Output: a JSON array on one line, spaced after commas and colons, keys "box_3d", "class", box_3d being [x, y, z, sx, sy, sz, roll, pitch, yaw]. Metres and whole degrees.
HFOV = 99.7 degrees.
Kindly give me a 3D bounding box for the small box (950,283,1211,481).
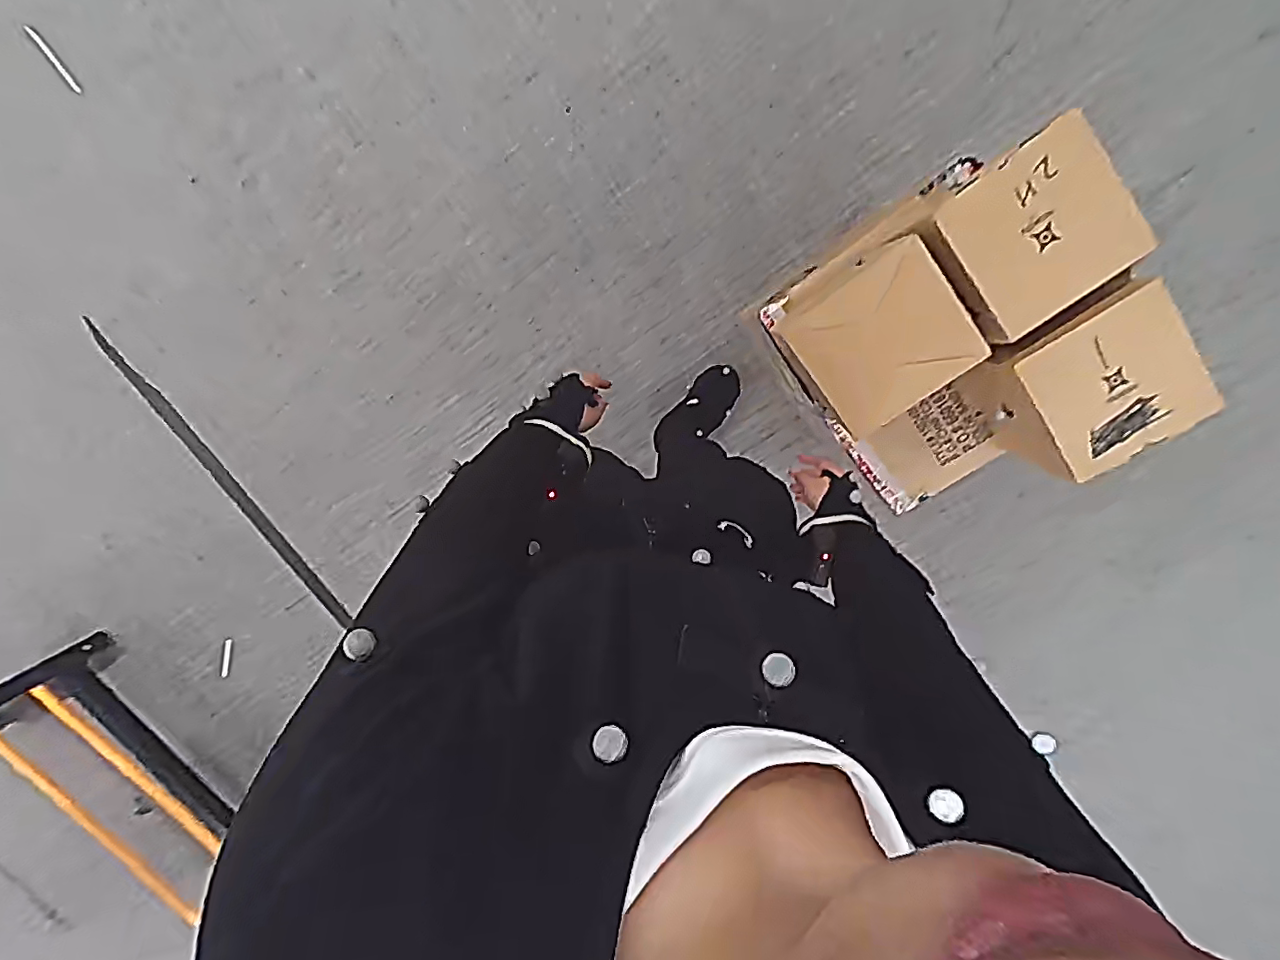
[{"box_3d": [0.546, -0.131, 0.697, 0.168, 0.176, 0.179, -34, 101, 14], "class": "small box"}]
